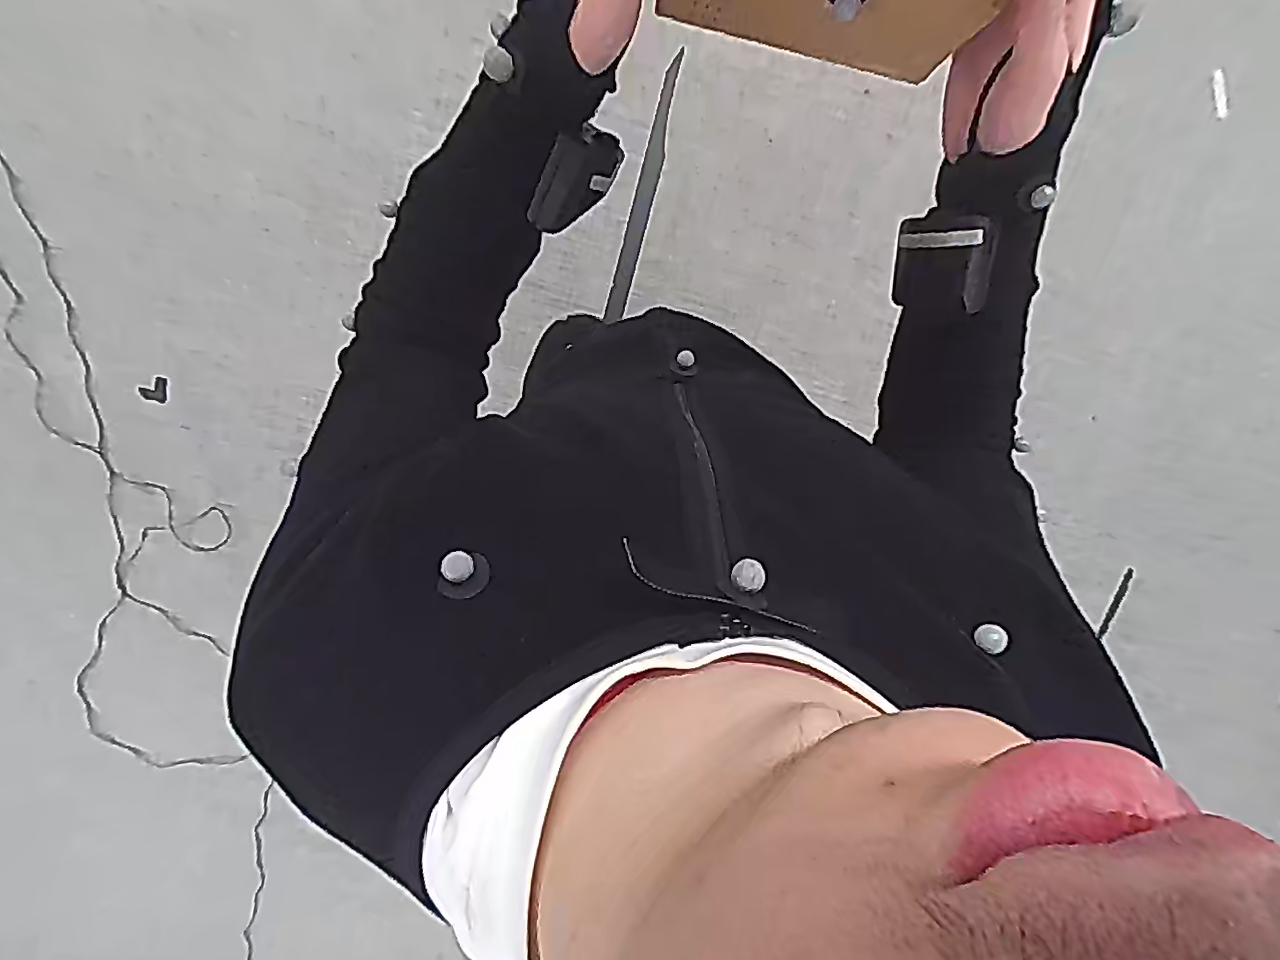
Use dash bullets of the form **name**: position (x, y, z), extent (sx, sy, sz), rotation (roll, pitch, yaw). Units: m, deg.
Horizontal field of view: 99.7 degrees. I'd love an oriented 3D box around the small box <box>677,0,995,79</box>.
- **small box**: position (0.112, -0.332, 0.234), extent (0.176, 0.168, 0.179), rotation (4, 91, -13)
